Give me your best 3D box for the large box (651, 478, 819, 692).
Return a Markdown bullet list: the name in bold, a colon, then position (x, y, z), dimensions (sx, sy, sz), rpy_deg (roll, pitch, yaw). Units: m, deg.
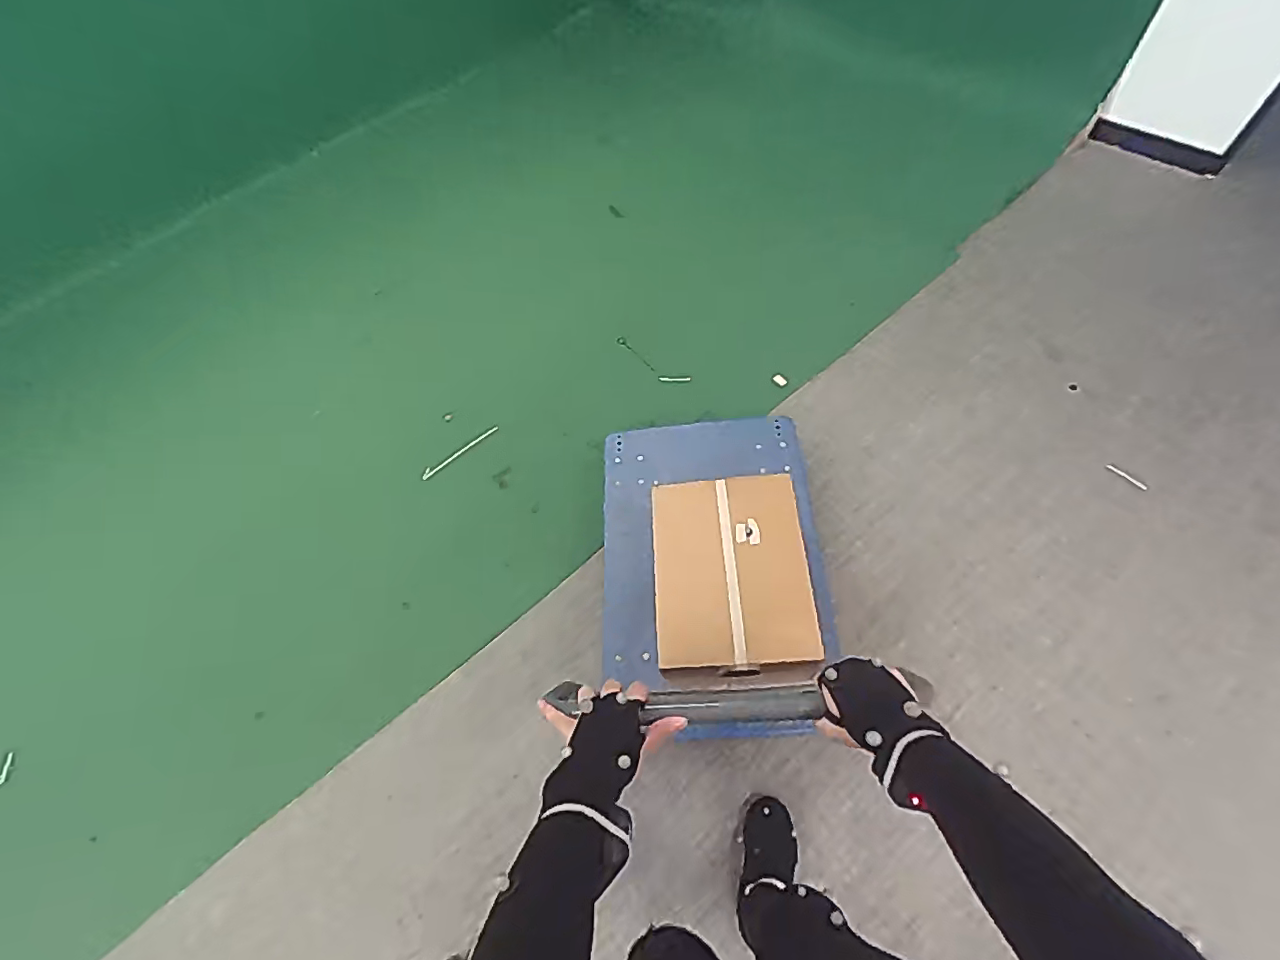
- **large box**: position (0.206, 0.256, 1.266), dimensions (0.320, 0.320, 0.408), rpy_deg (-5, 59, 6)
